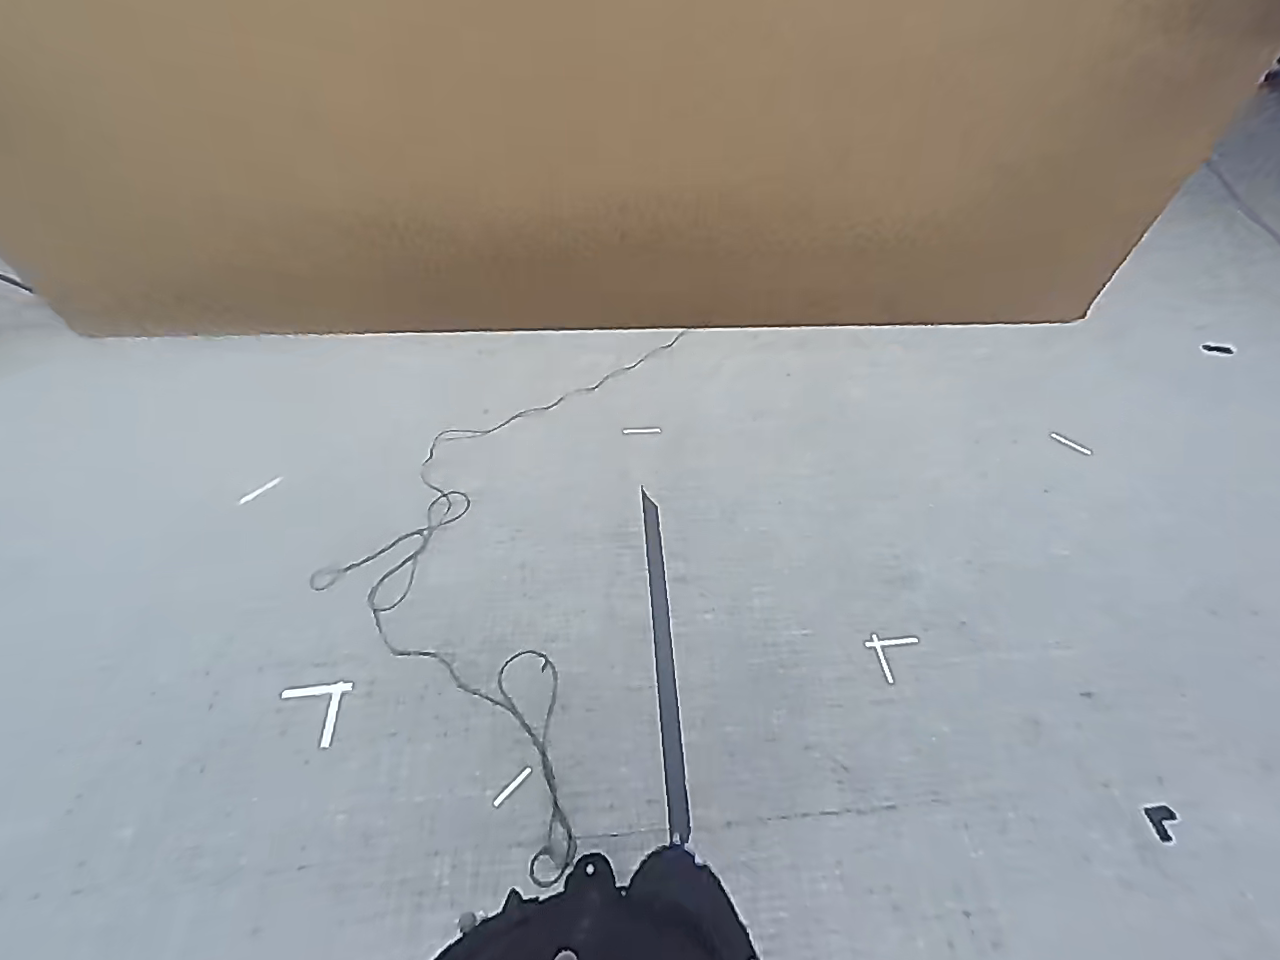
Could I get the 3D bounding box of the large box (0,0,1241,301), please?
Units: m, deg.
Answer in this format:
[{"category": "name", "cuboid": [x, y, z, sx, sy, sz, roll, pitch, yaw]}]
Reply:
[{"category": "large box", "cuboid": [-0.021, -0.285, 0.205, 0.408, 0.320, 0.320, -1, 52, -2]}]
